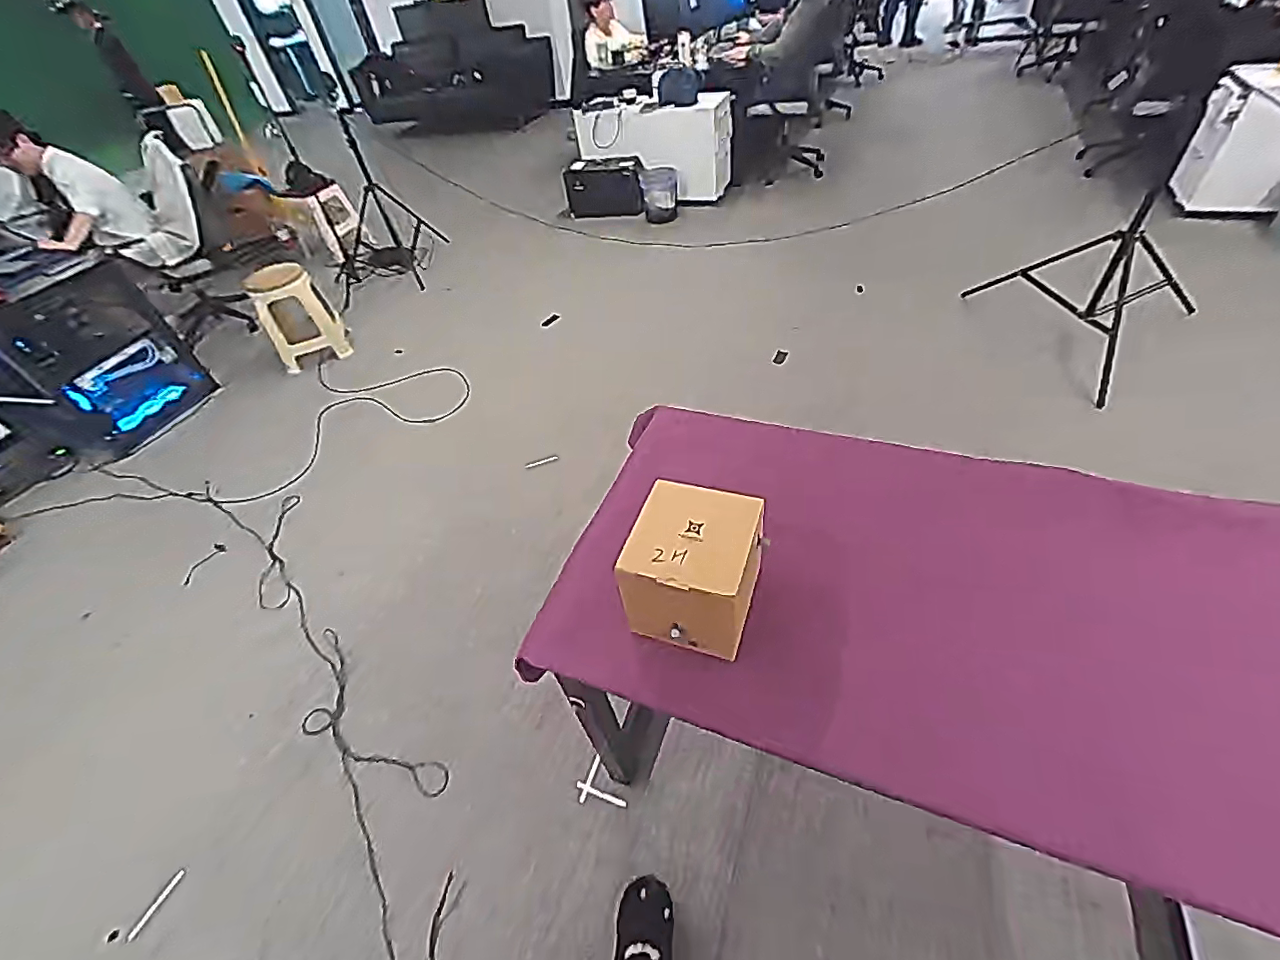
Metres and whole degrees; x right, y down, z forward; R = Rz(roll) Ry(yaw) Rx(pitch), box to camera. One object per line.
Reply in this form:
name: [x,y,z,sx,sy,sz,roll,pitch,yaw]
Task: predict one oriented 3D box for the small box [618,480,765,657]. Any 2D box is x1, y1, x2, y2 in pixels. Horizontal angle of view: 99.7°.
small box: [0.083,0.129,0.802,0.168,0.176,0.179,10,48,20]
